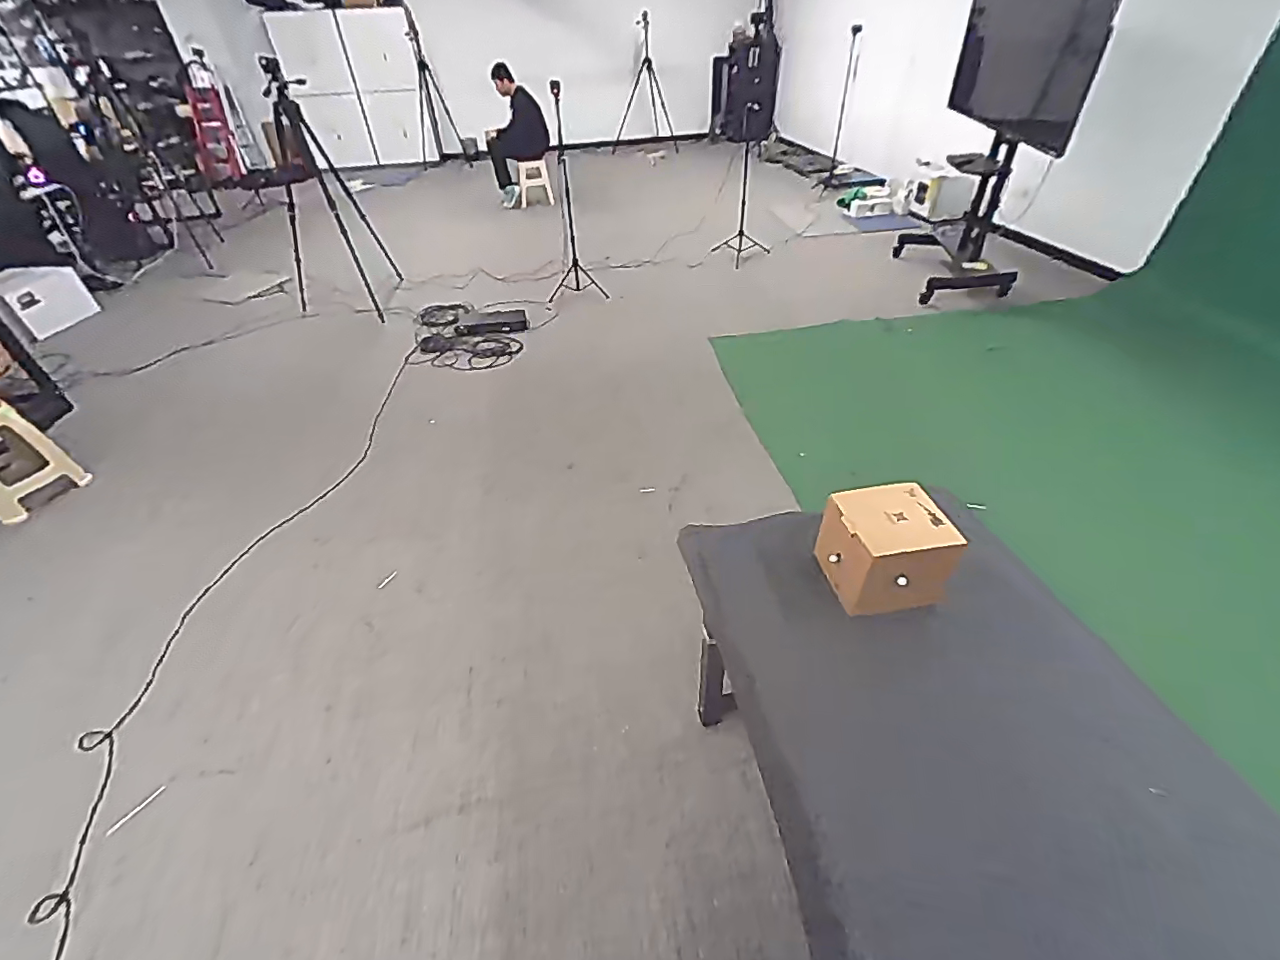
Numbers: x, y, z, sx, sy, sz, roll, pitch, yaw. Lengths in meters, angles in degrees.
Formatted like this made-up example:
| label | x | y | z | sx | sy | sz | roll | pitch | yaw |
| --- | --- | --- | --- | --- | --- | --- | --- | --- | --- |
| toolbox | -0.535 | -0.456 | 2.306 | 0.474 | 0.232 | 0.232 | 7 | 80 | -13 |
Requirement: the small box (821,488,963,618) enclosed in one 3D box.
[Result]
| label | x | y | z | sx | sy | sz | roll | pitch | yaw |
| --- | --- | --- | --- | --- | --- | --- | --- | --- | --- |
| small box | 0.455 | 0.140 | 1.014 | 0.179 | 0.176 | 0.168 | -8 | 41 | -5 |
